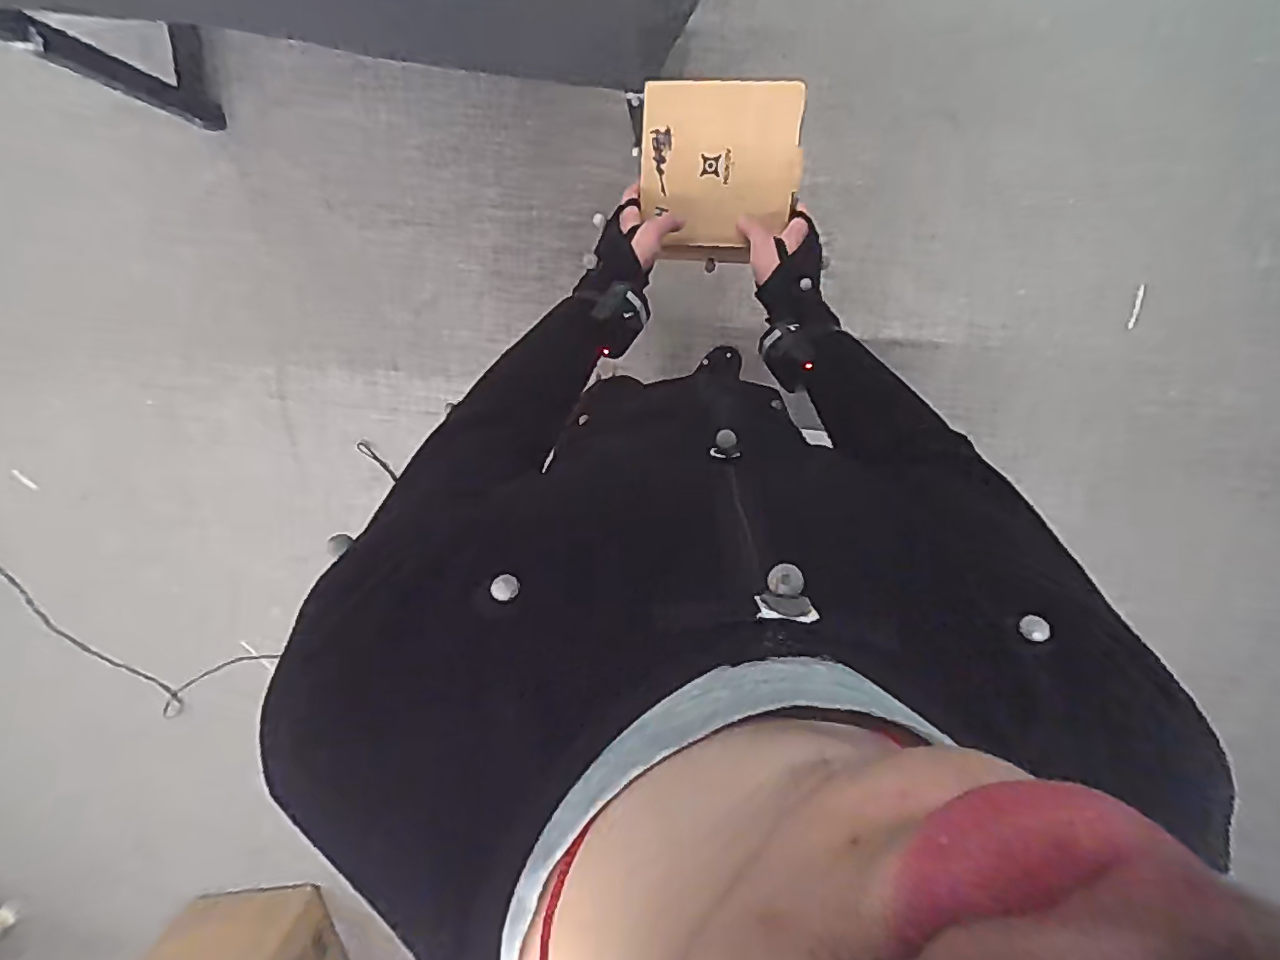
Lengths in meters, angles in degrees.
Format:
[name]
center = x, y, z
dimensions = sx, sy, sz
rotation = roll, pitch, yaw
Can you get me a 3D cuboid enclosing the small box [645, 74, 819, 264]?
[small box]
center = 0.099, -0.362, 0.659
dimensions = 0.179, 0.176, 0.168
rotation = 3, 106, 3
